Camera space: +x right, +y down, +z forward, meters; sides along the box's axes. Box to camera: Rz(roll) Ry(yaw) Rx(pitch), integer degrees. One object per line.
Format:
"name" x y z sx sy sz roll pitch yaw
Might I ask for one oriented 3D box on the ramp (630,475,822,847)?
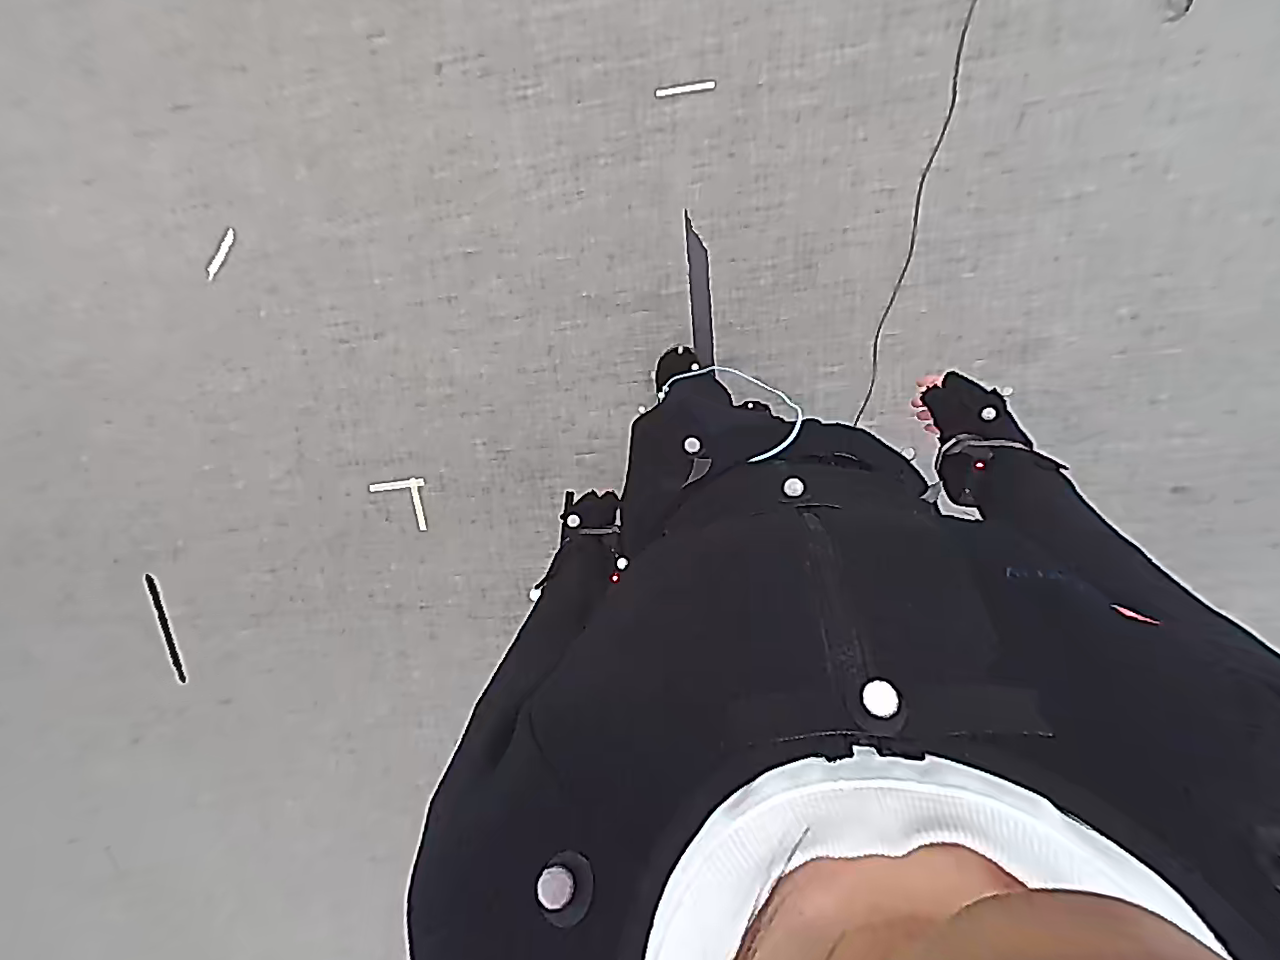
"ramp" 0.226 0.490 1.468 0.509 0.206 0.991 -3 101 9
